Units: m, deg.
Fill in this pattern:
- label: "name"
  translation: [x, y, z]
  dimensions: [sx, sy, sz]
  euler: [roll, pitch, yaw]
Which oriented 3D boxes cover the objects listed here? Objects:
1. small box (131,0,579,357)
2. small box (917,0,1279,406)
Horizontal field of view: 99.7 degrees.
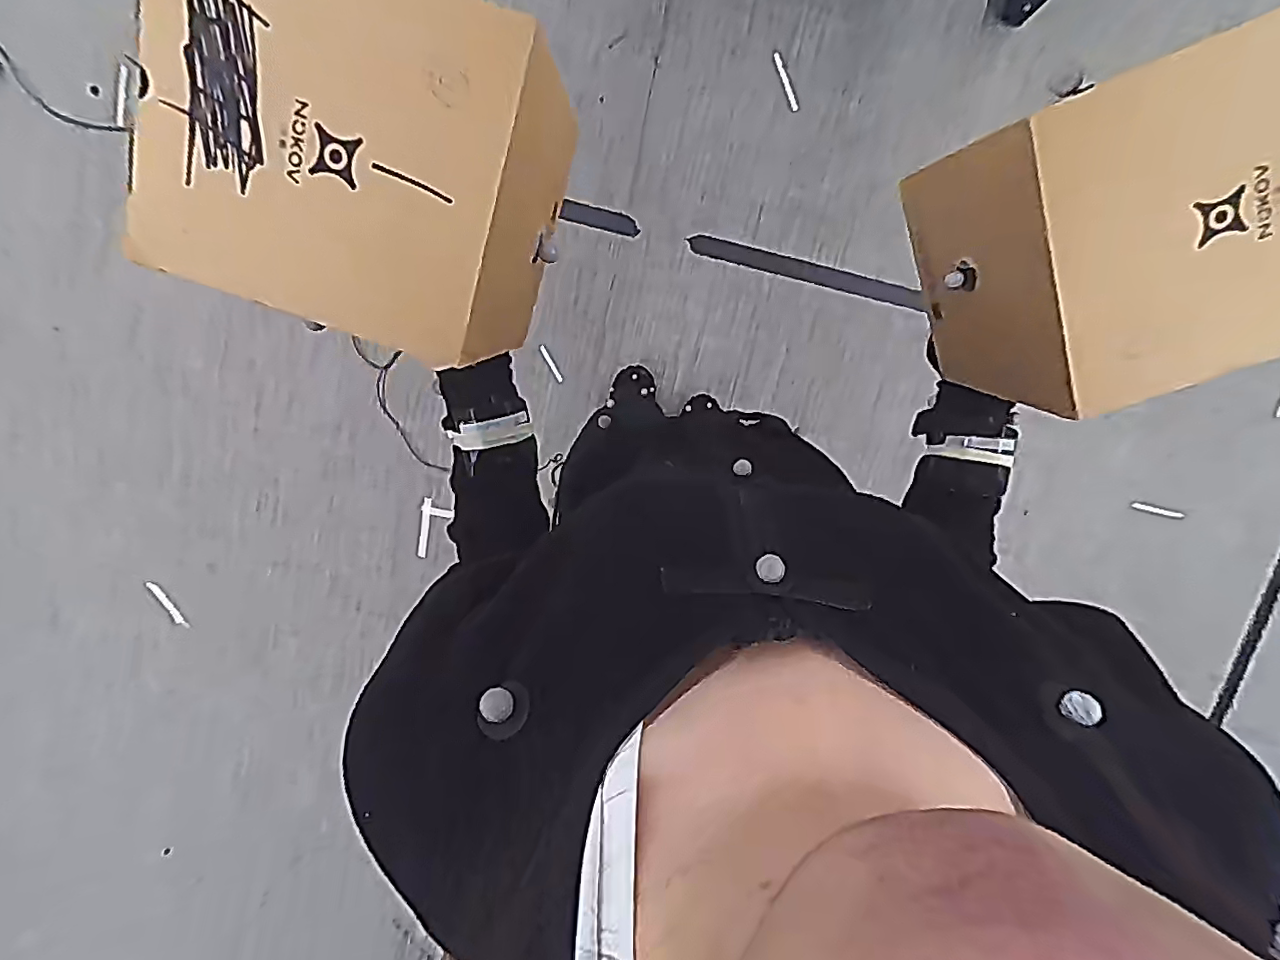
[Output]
- label: "small box"
  translation: [-0.149, -0.188, 0.334]
  dimensions: [0.179, 0.176, 0.168]
  euler: [18, 108, -6]
- label: "small box"
  translation: [0.304, -0.165, 0.347]
  dimensions: [0.179, 0.176, 0.168]
  euler: [-20, 108, 10]
